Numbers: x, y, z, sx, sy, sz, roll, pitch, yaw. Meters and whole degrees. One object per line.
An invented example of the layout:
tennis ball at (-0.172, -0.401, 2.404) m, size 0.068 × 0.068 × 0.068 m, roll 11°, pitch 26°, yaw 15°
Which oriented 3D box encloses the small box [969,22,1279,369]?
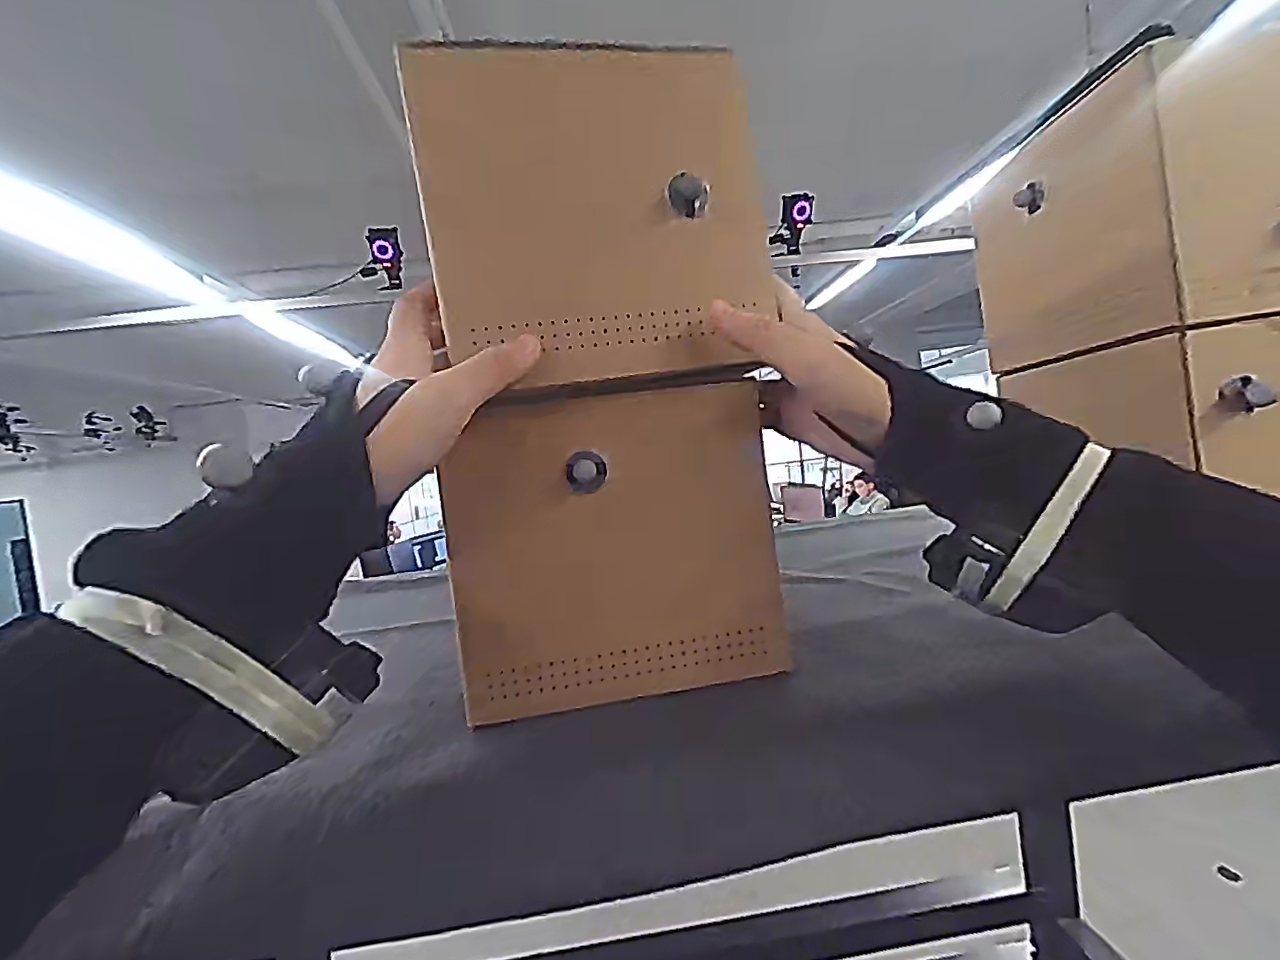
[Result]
small box at (0.382, -0.186, 0.401) m, size 0.168 × 0.176 × 0.179 m, roll -9°, pitch 1°, yaw 0°

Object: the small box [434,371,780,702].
small box at (-0.022, 0.034, 0.369) m, size 0.179 × 0.176 × 0.168 m, roll -7°, pitch 1°, yaw -7°

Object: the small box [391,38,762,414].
small box at (-0.035, -0.133, 0.346) m, size 0.179 × 0.176 × 0.168 m, roll -11°, pitch 3°, yaw -14°
